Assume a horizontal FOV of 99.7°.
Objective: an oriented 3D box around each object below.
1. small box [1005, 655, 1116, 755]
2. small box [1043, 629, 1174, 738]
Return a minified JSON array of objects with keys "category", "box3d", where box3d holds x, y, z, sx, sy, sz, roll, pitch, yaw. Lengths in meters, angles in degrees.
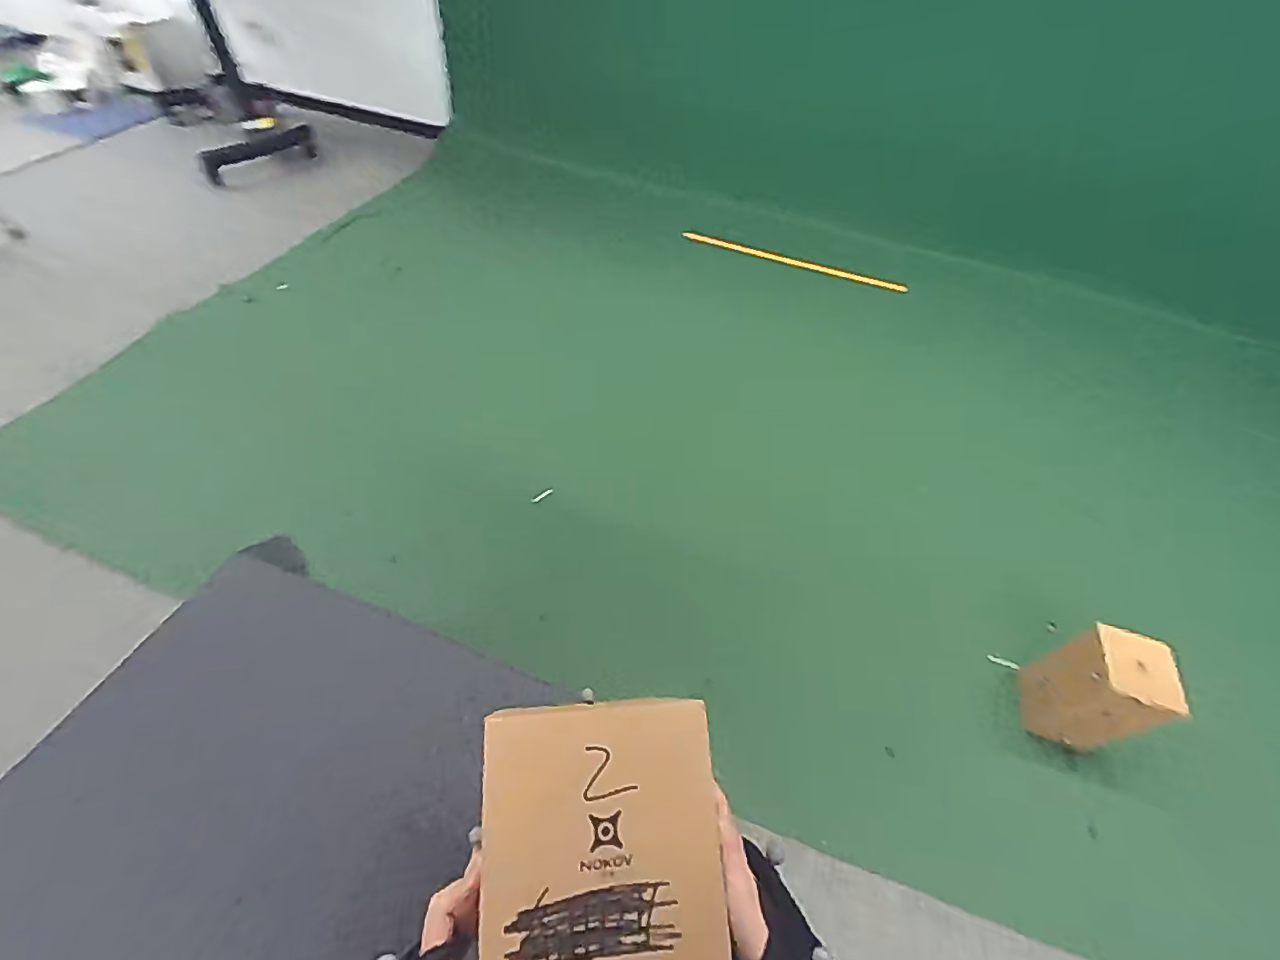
[{"category":"small box","box3d":[1.123,0.610,1.464,0.168,0.176,0.179,19,51,8]},{"category":"small box","box3d":[1.143,0.507,1.340,0.168,0.176,0.179,18,50,7]}]
